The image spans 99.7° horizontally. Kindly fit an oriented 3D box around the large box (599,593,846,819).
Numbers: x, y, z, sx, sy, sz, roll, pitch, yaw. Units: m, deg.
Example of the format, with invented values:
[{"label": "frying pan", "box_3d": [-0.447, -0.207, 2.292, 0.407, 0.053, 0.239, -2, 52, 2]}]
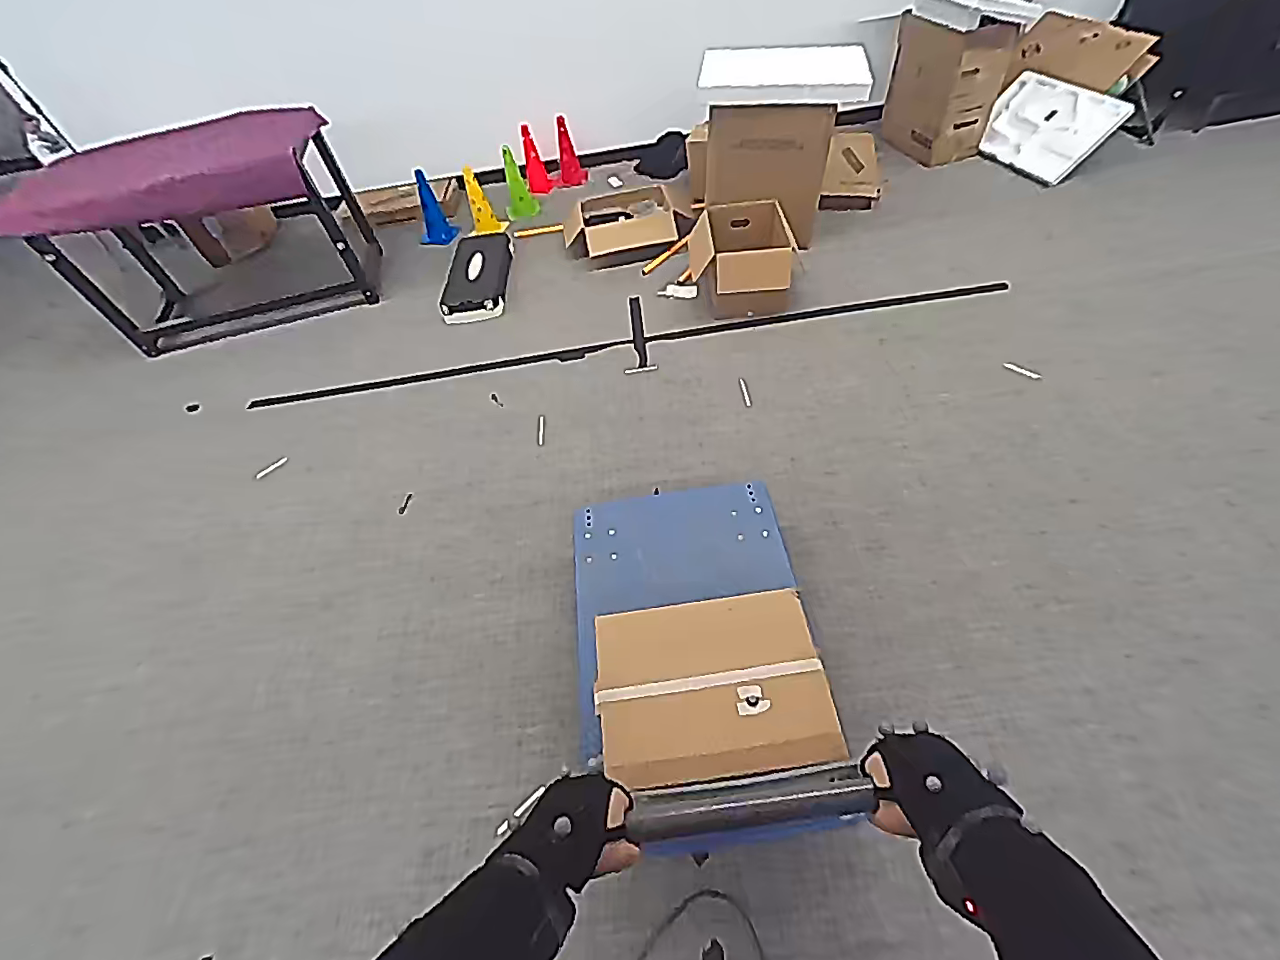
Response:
[{"label": "large box", "box_3d": [0.143, 0.467, 1.106, 0.408, 0.320, 0.320, -8, 52, 0]}]
